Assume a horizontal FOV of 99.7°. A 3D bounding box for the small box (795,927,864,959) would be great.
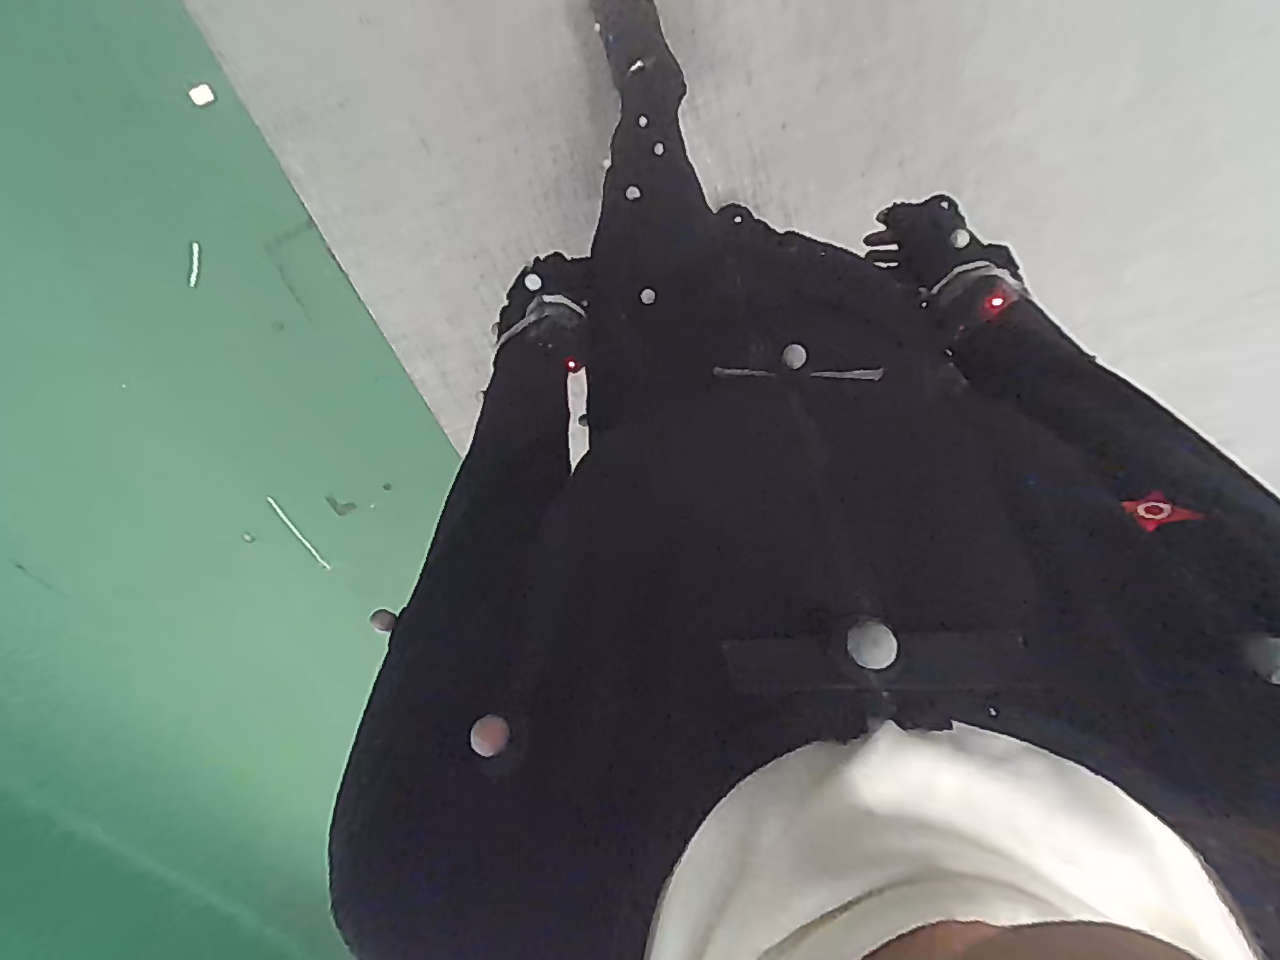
[{"bbox_3d":[0.539,1.378,1.502,0.179,0.176,0.168,-15,122,12],"label":"small box"}]
